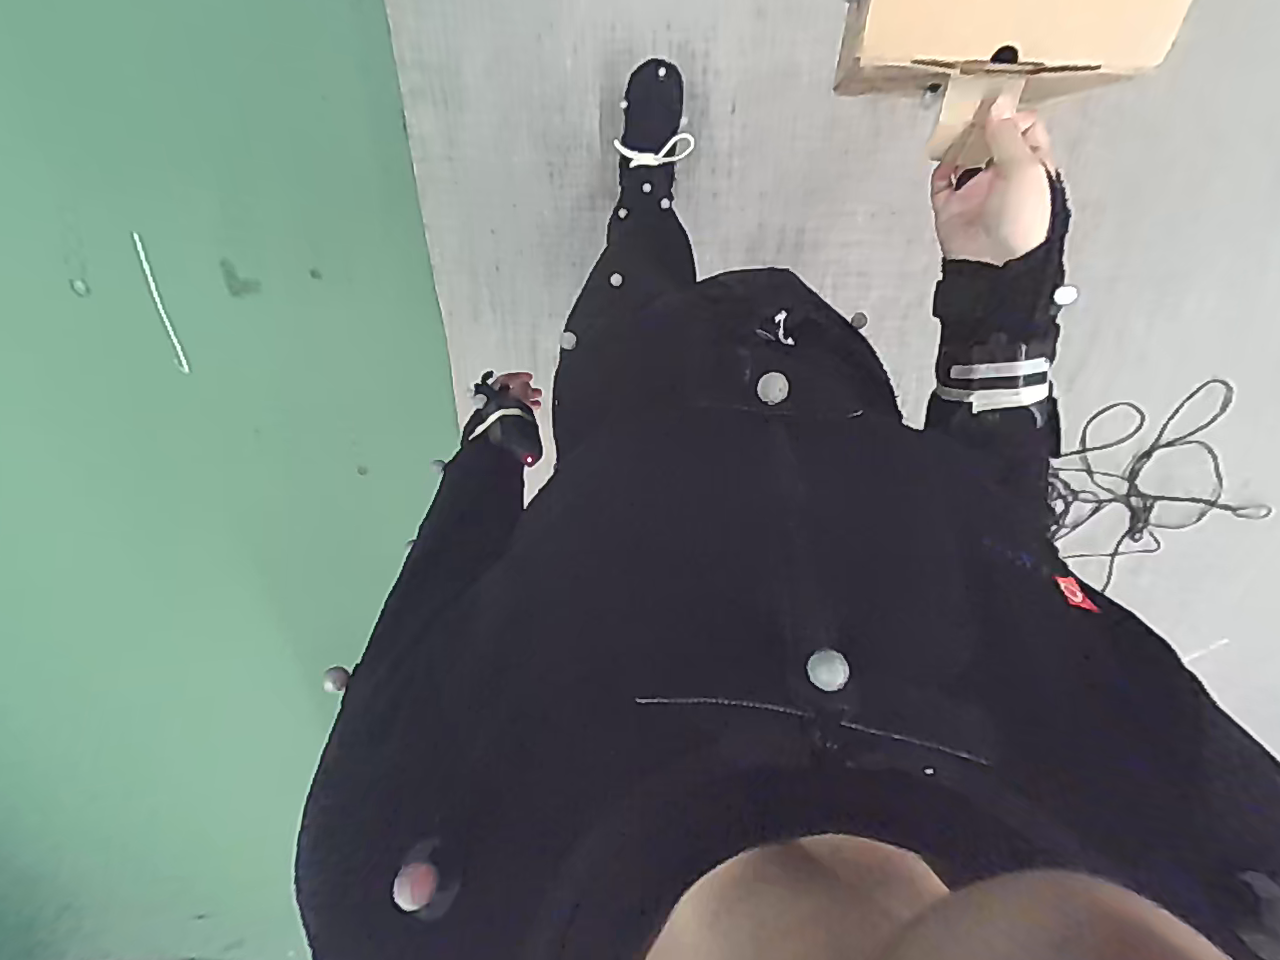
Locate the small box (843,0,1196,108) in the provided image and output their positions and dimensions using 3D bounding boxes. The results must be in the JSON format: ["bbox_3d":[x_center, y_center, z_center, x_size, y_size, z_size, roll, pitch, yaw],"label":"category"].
[{"bbox_3d":[0.237,-0.353,0.342,0.168,0.176,0.179,9,121,9],"label":"small box"}]
